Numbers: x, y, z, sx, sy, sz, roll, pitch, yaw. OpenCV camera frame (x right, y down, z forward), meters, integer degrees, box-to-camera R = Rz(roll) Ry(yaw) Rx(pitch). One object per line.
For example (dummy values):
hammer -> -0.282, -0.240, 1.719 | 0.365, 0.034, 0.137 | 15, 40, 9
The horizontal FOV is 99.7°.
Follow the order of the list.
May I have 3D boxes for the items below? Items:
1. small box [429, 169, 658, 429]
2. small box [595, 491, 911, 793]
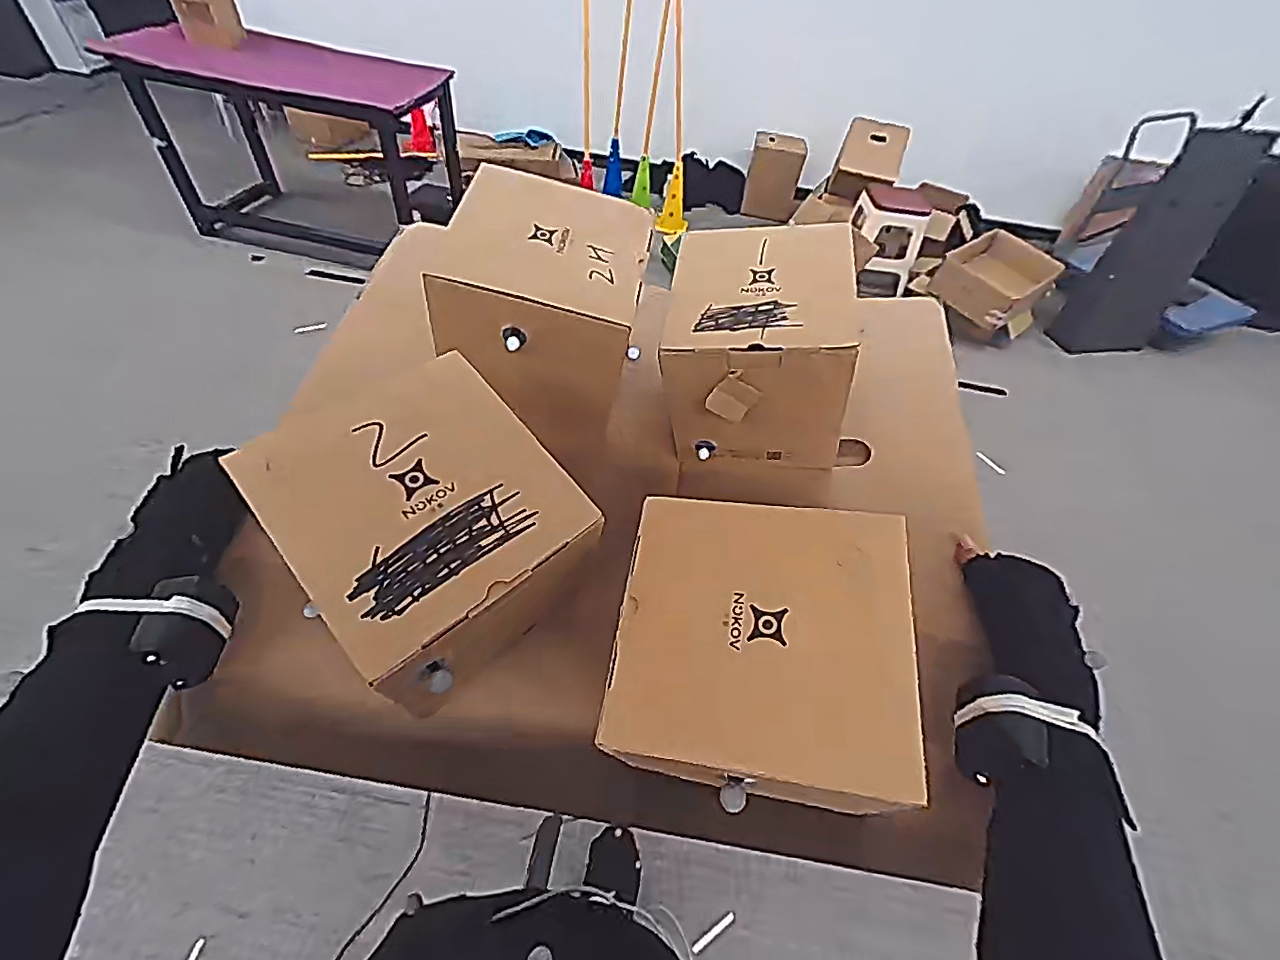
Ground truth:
small box -> -0.093, -0.175, 0.557 | 0.179, 0.176, 0.168 | 14, 59, -6
small box -> 0.086, 0.126, 0.405 | 0.179, 0.176, 0.168 | 4, 59, 15
